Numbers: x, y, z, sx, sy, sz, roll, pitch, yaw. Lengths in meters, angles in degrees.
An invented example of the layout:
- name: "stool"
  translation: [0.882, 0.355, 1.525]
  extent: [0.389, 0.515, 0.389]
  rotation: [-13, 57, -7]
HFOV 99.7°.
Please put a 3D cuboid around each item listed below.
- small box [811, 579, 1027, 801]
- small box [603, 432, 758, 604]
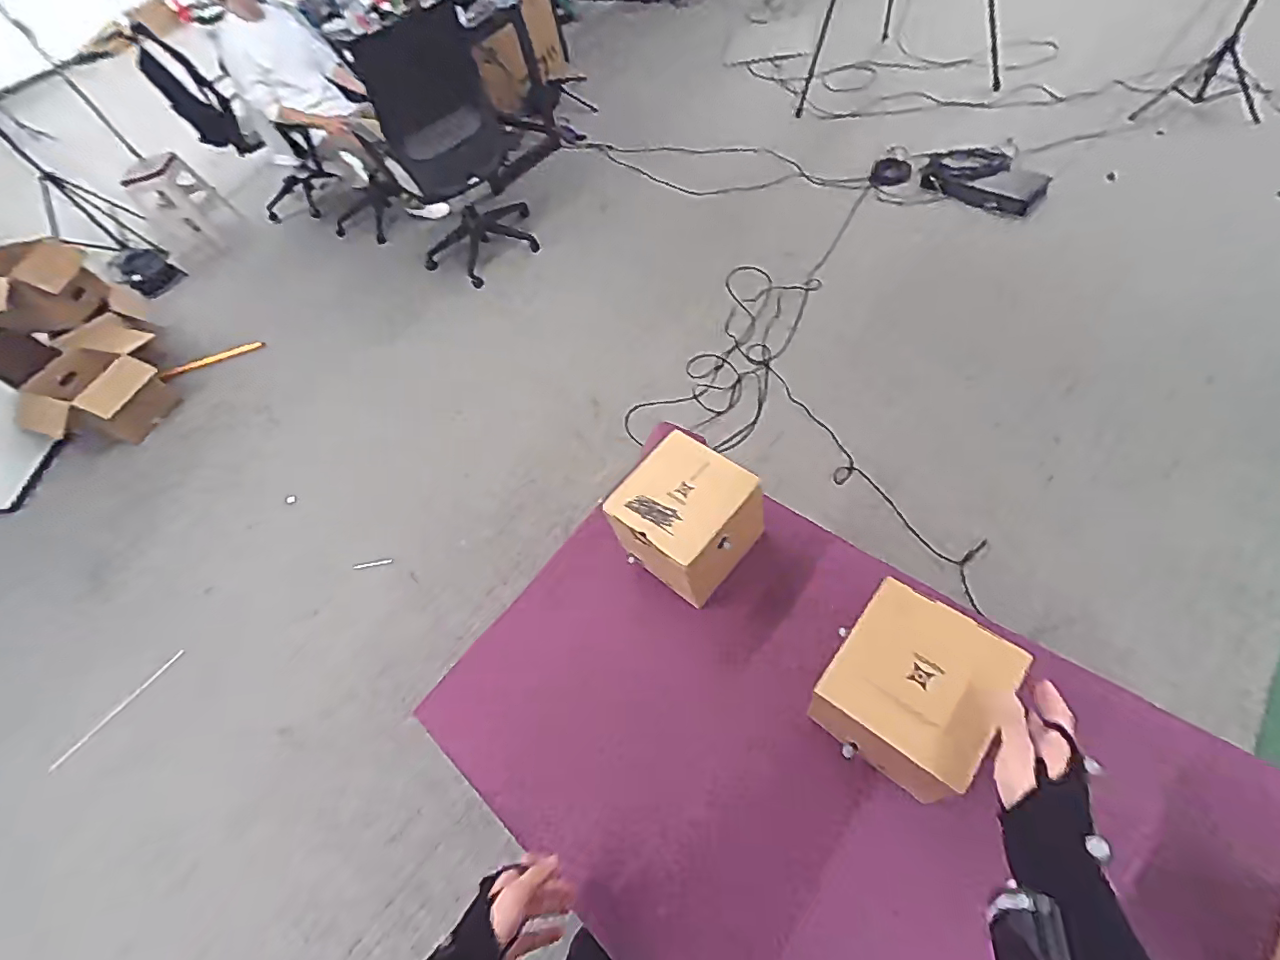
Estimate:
- name: "small box"
  translation: [0.325, 0.261, 0.667]
  extent: [0.168, 0.176, 0.179]
  rotation: [32, 69, 30]
- name: "small box"
  translation: [0.075, 0.064, 0.852]
  extent: [0.168, 0.176, 0.179]
  rotation: [34, 71, 29]
